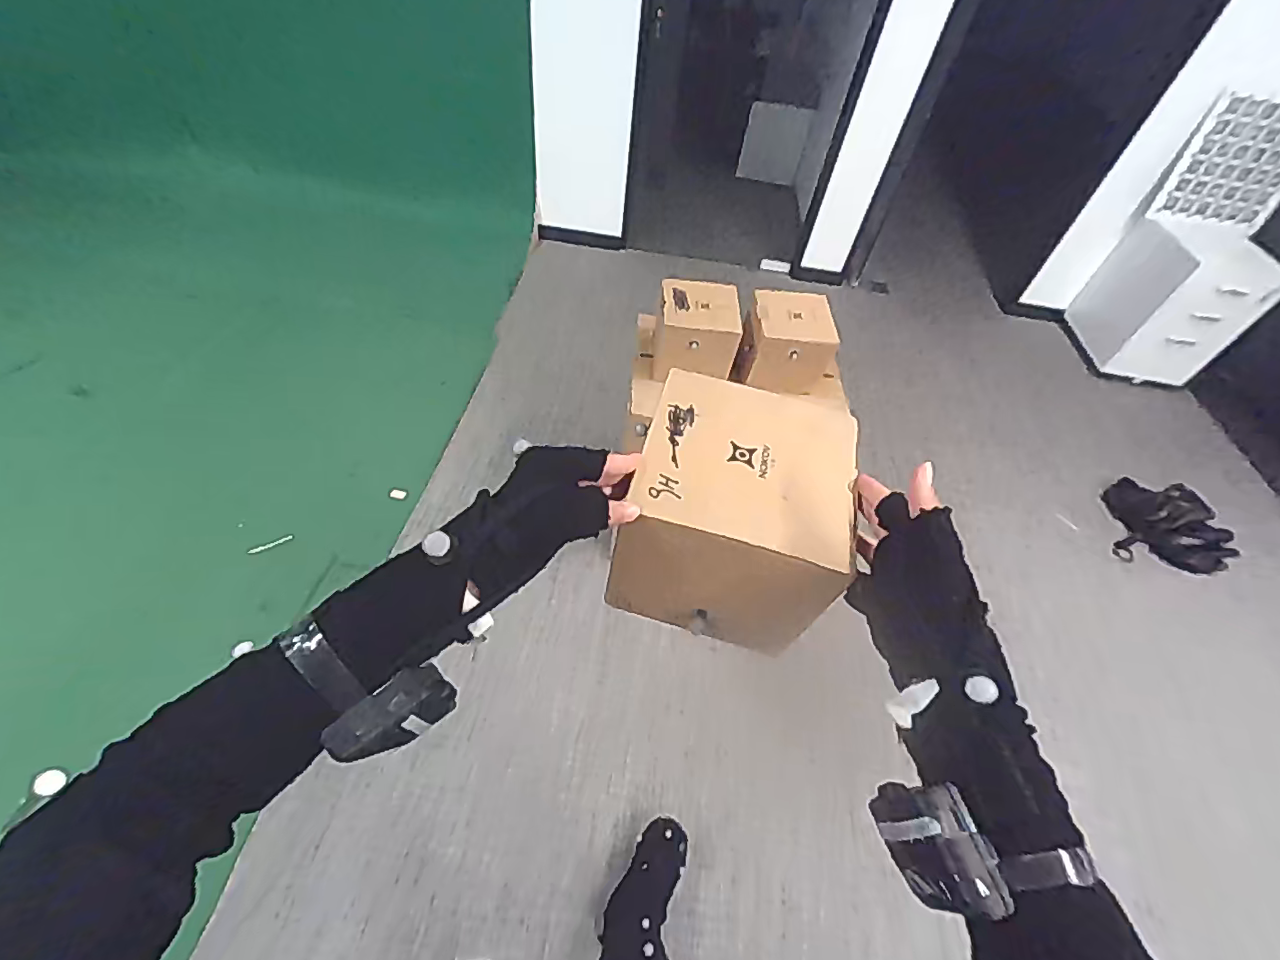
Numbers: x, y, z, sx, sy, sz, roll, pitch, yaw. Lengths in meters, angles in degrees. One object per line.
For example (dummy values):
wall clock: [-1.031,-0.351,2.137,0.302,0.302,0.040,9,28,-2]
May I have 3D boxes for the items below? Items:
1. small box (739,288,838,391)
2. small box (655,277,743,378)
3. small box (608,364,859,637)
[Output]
small box: [0.343,-0.331,1.289,0.179,0.176,0.168,4,56,-7]
small box: [0.130,-0.348,1.271,0.179,0.176,0.168,5,55,-5]
small box: [0.081,0.027,0.505,0.179,0.176,0.168,18,52,2]
